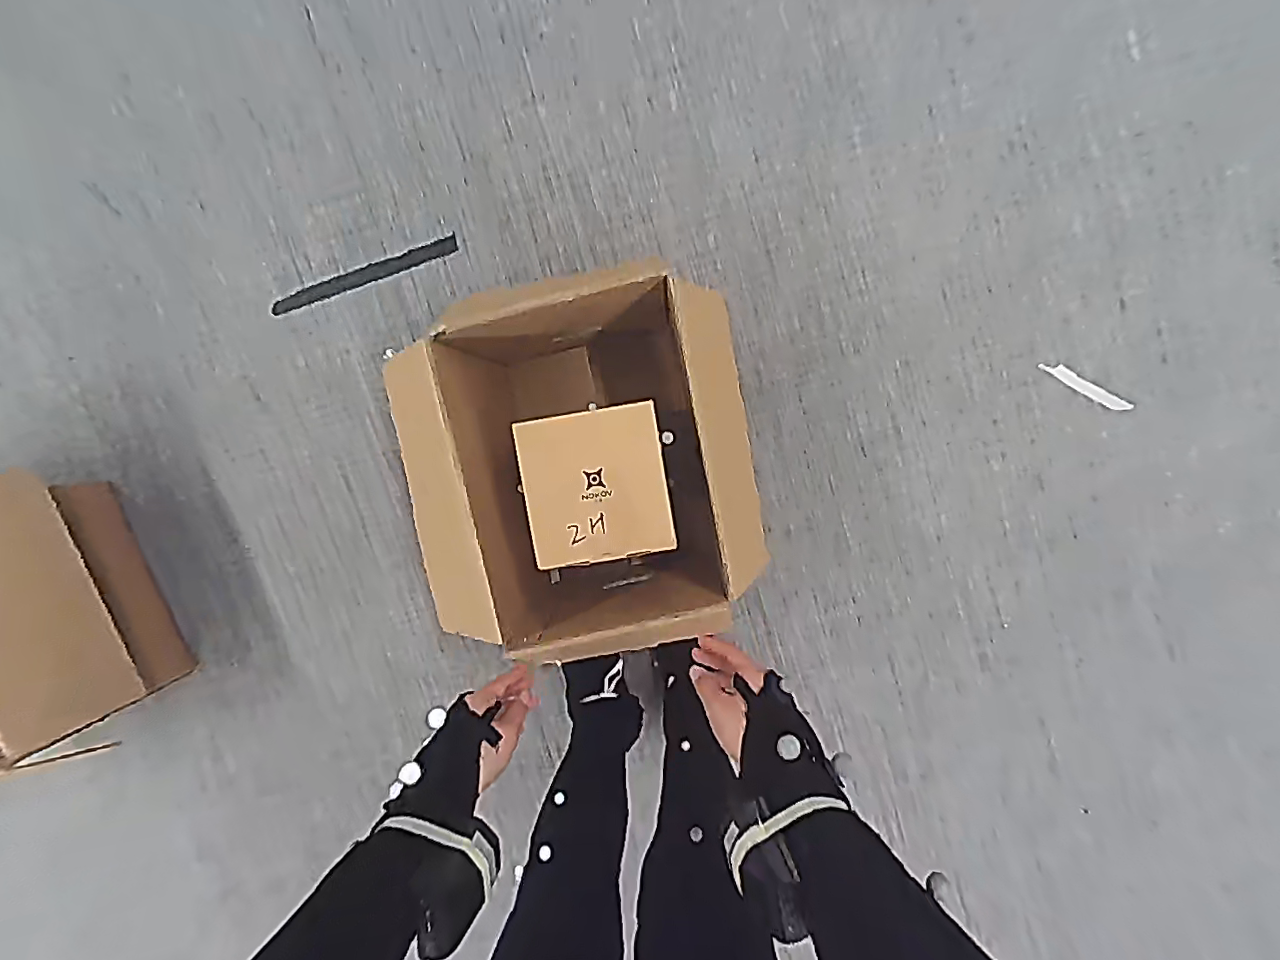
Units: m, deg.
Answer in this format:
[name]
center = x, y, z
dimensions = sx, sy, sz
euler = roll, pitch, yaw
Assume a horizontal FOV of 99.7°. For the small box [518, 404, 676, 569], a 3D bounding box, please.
[small box]
center = -0.051, 0.005, 0.711
dimensions = 0.168, 0.176, 0.179
euler = -10, 93, 1
